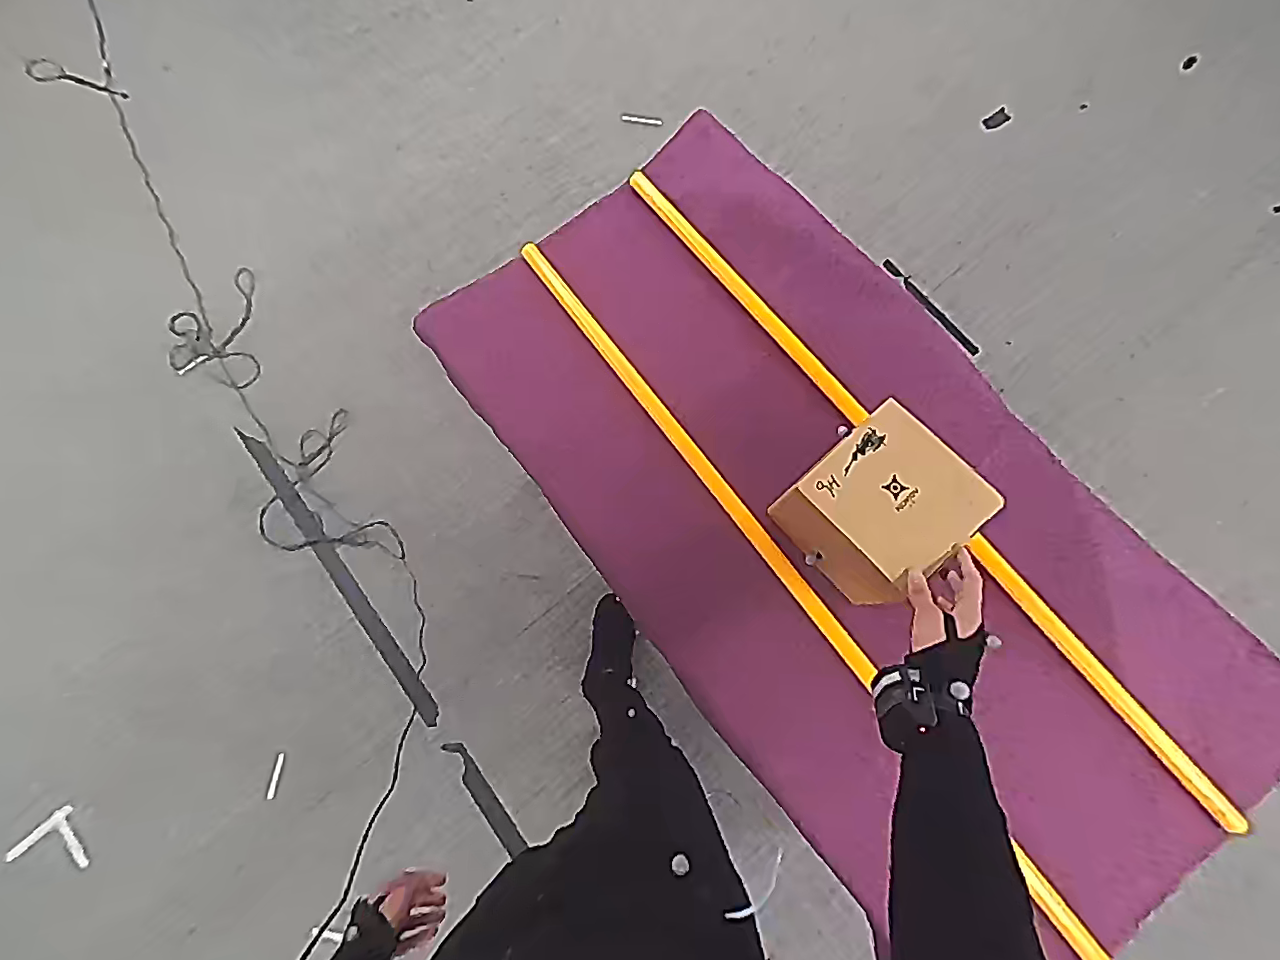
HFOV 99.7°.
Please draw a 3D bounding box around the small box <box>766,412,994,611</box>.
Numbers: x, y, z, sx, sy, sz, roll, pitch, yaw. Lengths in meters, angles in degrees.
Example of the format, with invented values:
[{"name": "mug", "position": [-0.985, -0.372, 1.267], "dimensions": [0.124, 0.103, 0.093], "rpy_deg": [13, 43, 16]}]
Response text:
[{"name": "small box", "position": [0.291, 0.048, 0.699], "dimensions": [0.168, 0.176, 0.179], "rpy_deg": [-41, 80, -8]}]
